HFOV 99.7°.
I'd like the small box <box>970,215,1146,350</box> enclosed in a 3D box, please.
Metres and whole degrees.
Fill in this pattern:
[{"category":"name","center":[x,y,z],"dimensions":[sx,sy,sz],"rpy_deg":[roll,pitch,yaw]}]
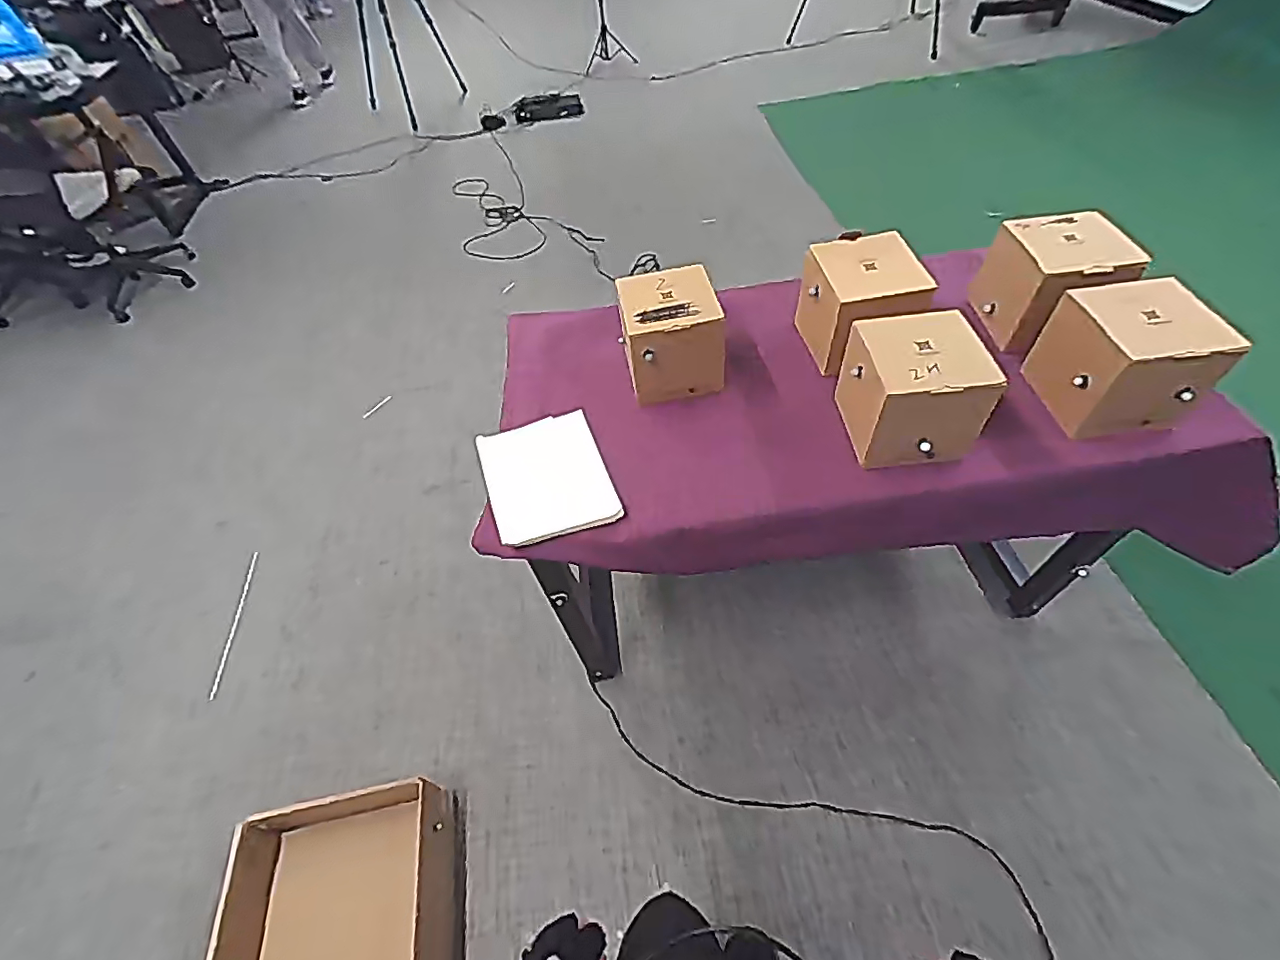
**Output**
[{"category":"small box","center":[0.745,-0.353,0.990],"dimensions":[0.168,0.176,0.179],"rpy_deg":[-4,53,4]}]

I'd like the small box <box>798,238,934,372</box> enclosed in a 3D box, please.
[{"category":"small box","center":[0.407,-0.318,1.008],"dimensions":[0.168,0.176,0.179],"rpy_deg":[-10,52,0]}]

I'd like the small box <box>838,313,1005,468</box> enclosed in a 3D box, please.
[{"category":"small box","center":[0.430,-0.141,0.865],"dimensions":[0.168,0.176,0.179],"rpy_deg":[-5,52,4]}]
